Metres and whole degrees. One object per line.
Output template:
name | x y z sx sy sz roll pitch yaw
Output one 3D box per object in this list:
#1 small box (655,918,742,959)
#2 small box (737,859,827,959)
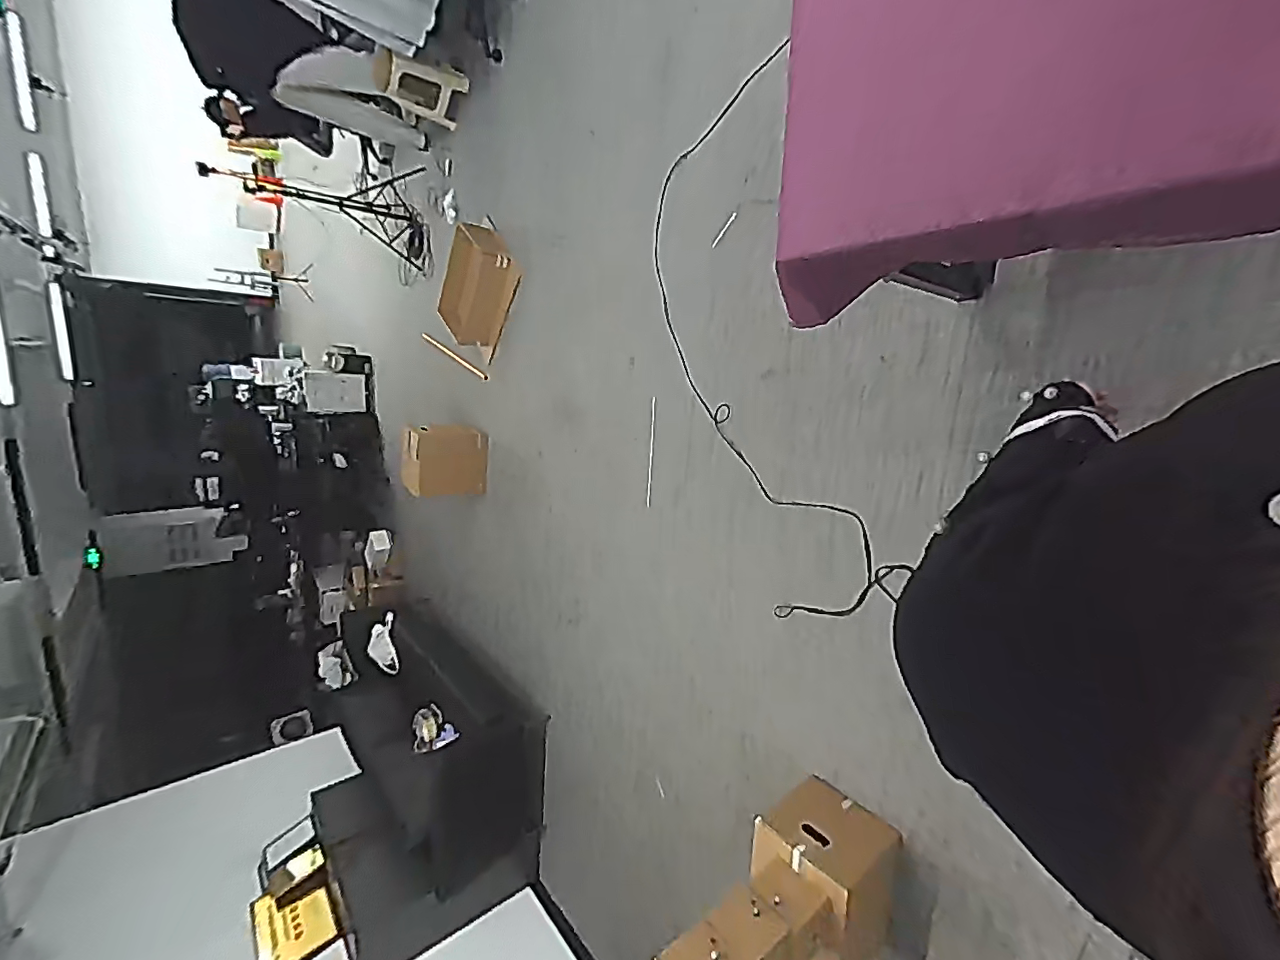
small box | 0.143 1.228 1.299 0.168 0.176 0.179 17 107 46
small box | 0.395 1.211 1.510 0.179 0.176 0.168 13 105 47
